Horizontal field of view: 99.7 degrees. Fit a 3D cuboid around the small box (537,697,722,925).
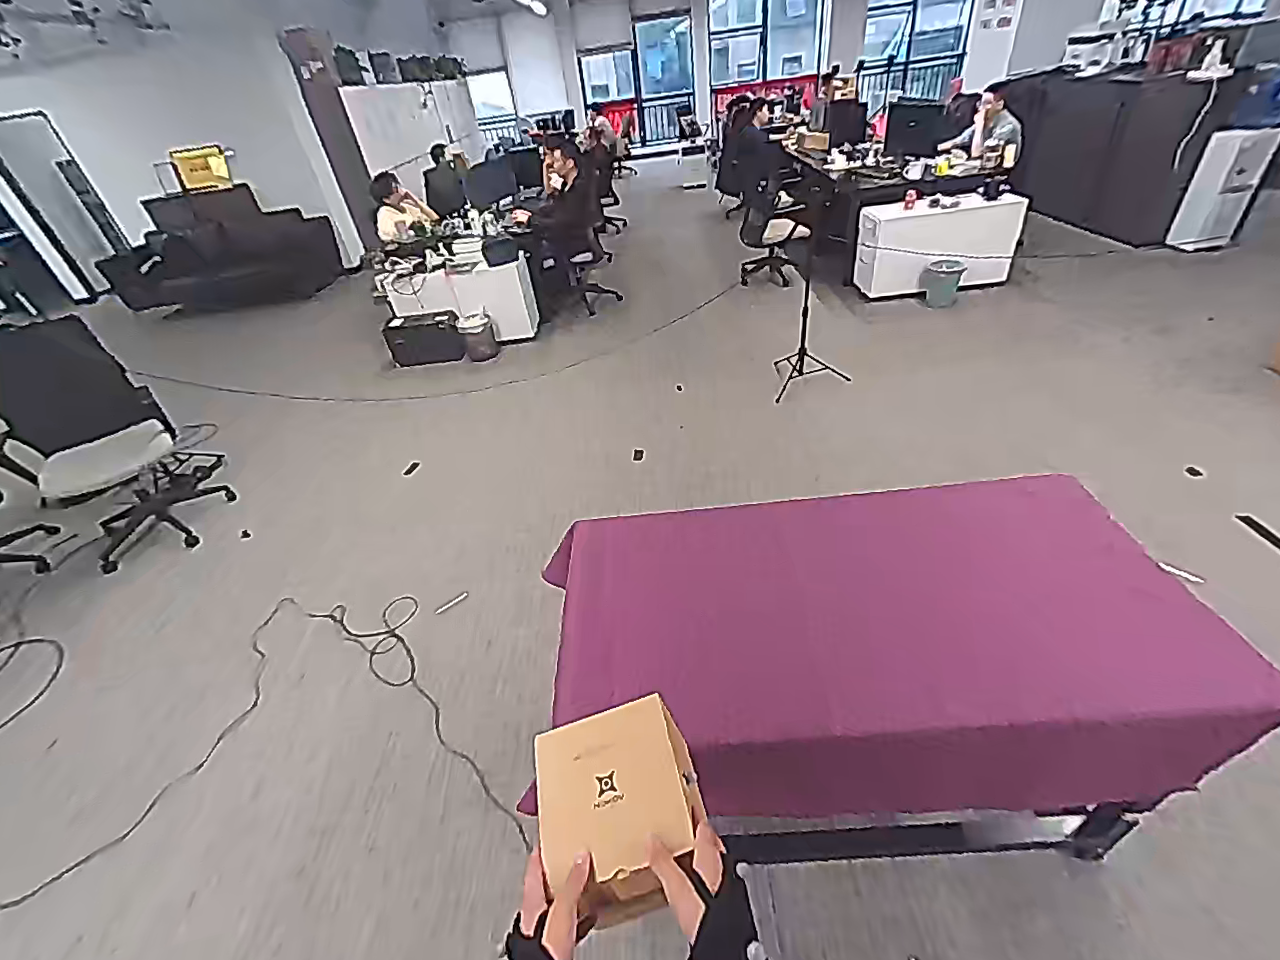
[{"bbox_3d":[-0.012,0.401,0.649,0.168,0.176,0.179,-19,40,1],"label":"small box"}]
